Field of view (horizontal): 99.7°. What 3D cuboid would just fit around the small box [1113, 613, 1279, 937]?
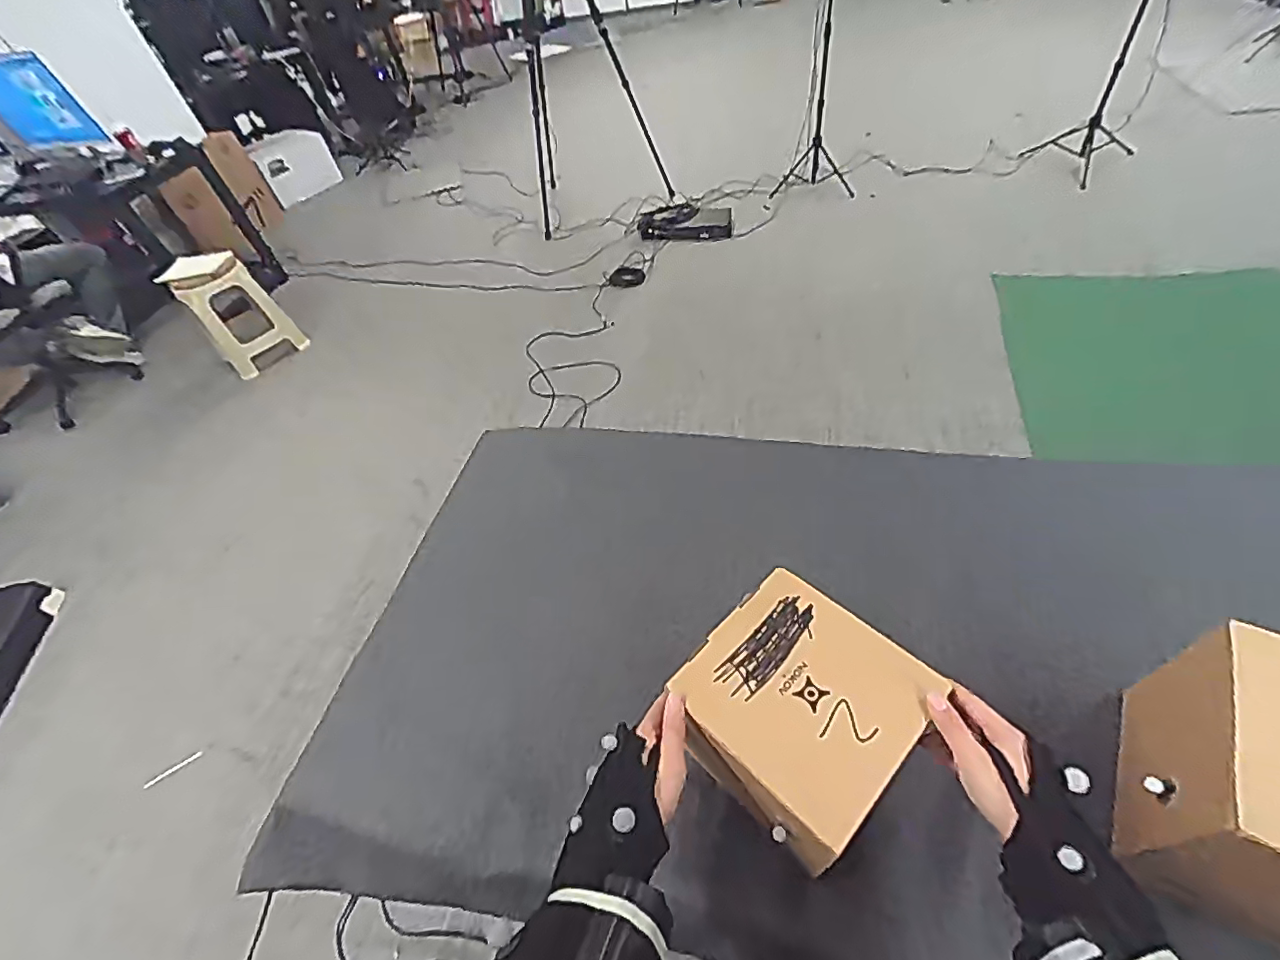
[{"bbox_3d":[0.511,0.244,0.421,0.168,0.176,0.179,21,55,25],"label":"small box"}]
